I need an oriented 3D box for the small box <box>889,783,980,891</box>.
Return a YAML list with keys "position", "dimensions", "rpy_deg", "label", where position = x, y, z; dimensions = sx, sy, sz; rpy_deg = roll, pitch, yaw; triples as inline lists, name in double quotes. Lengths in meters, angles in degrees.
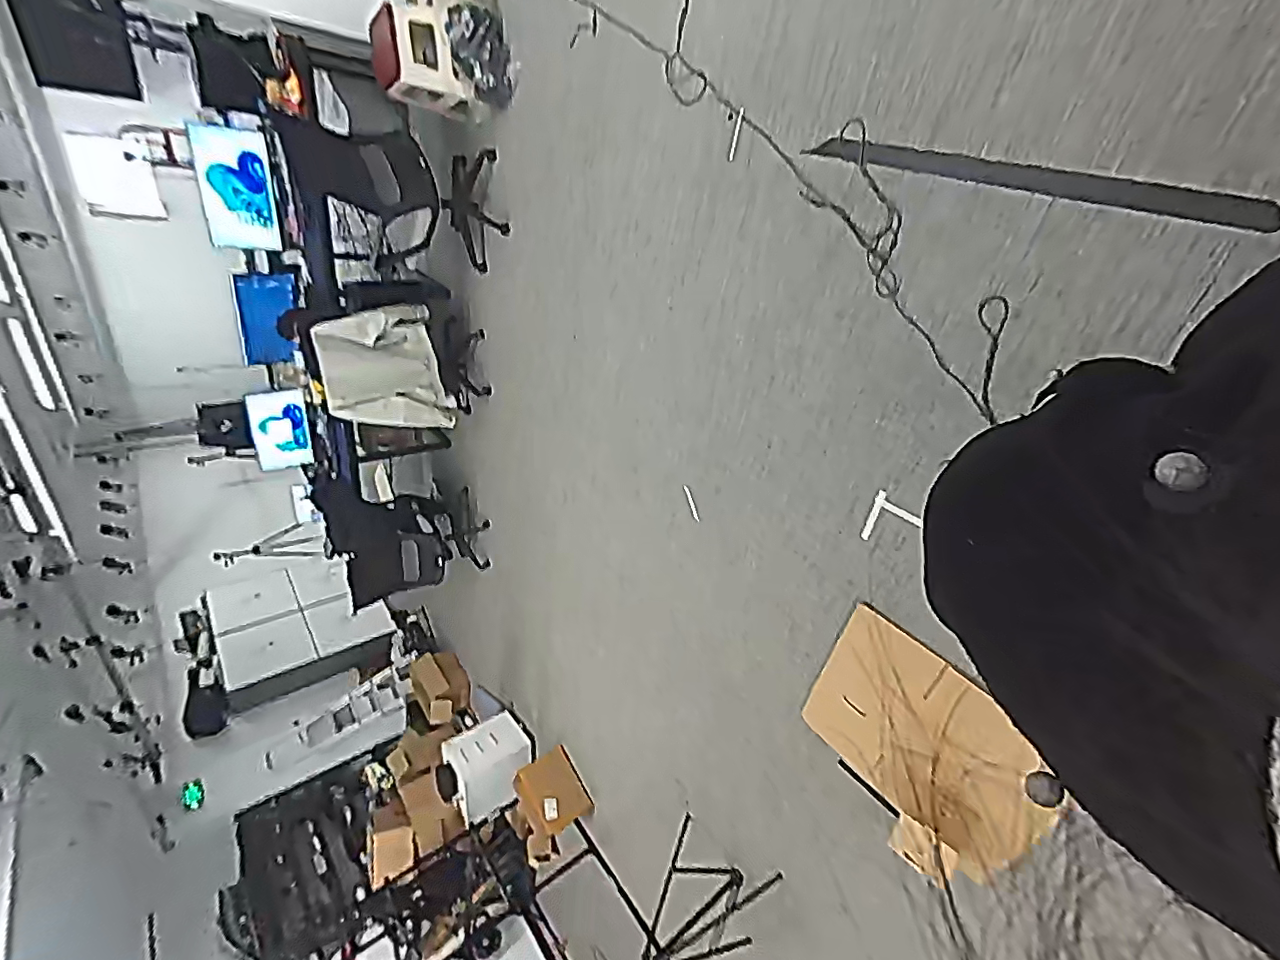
- position: [0.886, 1.057, 1.619]
  dimensions: [0.168, 0.176, 0.179]
  rpy_deg: [31, 125, 41]
  label: "small box"
